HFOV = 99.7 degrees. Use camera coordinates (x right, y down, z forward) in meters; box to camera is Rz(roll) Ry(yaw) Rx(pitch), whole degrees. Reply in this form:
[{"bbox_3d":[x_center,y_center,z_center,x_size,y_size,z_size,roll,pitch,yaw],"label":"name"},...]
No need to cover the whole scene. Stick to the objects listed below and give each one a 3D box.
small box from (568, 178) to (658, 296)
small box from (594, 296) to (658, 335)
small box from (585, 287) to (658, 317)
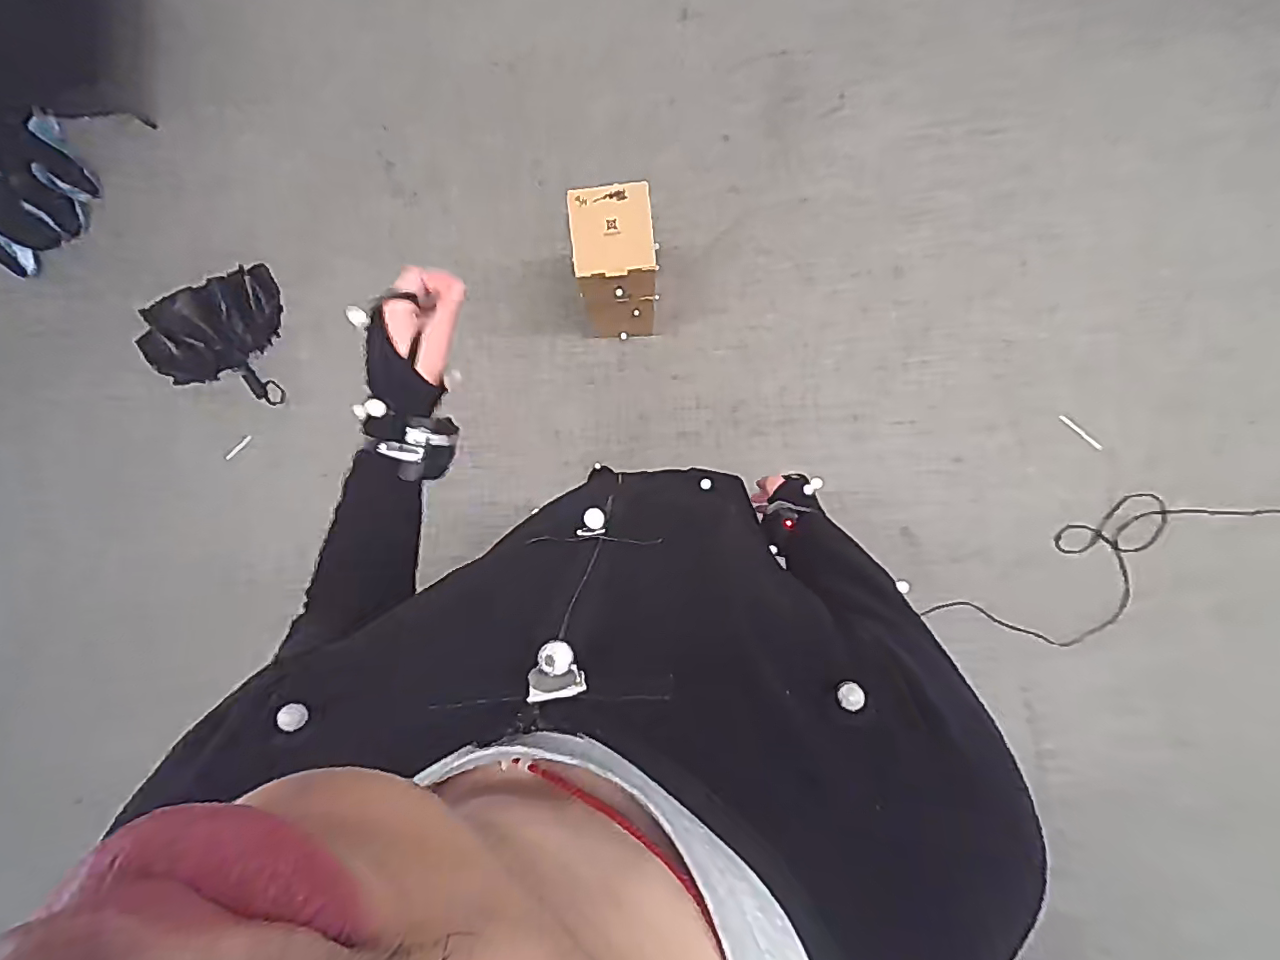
[{"bbox_3d":[-0.050,-0.501,1.143,0.168,0.176,0.179,-6,92,2],"label":"small box"},{"bbox_3d":[-0.037,-0.505,1.468,0.168,0.176,0.179,-3,91,3],"label":"small box"},{"bbox_3d":[-0.045,-0.503,1.306,0.168,0.176,0.179,-4,89,2],"label":"small box"}]
